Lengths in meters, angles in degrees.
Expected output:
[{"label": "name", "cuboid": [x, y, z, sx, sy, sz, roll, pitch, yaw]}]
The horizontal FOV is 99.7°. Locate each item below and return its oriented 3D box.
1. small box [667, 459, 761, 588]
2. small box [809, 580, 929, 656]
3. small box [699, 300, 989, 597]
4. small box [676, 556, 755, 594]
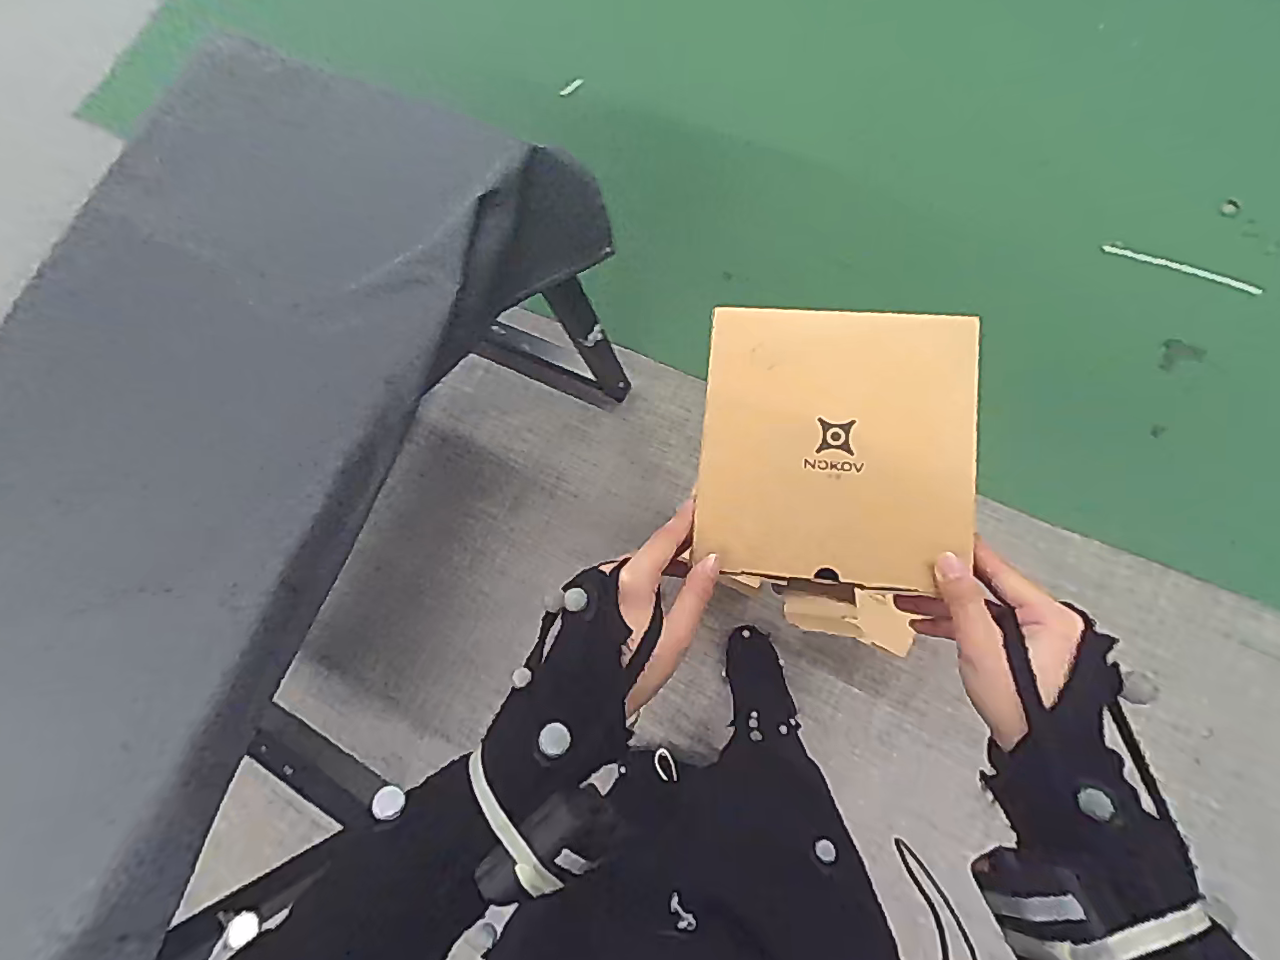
[{"label": "small box", "cuboid": [0.163, 0.085, 0.988, 0.168, 0.176, 0.179, 21, 82, 15]}, {"label": "small box", "cuboid": [0.451, 0.223, 1.076, 0.168, 0.176, 0.179, 26, 84, 14]}, {"label": "small box", "cuboid": [0.134, -0.014, 0.411, 0.168, 0.176, 0.179, 5, 83, 8]}, {"label": "small box", "cuboid": [0.190, 0.129, 1.144, 0.168, 0.176, 0.179, 21, 82, 15]}]
